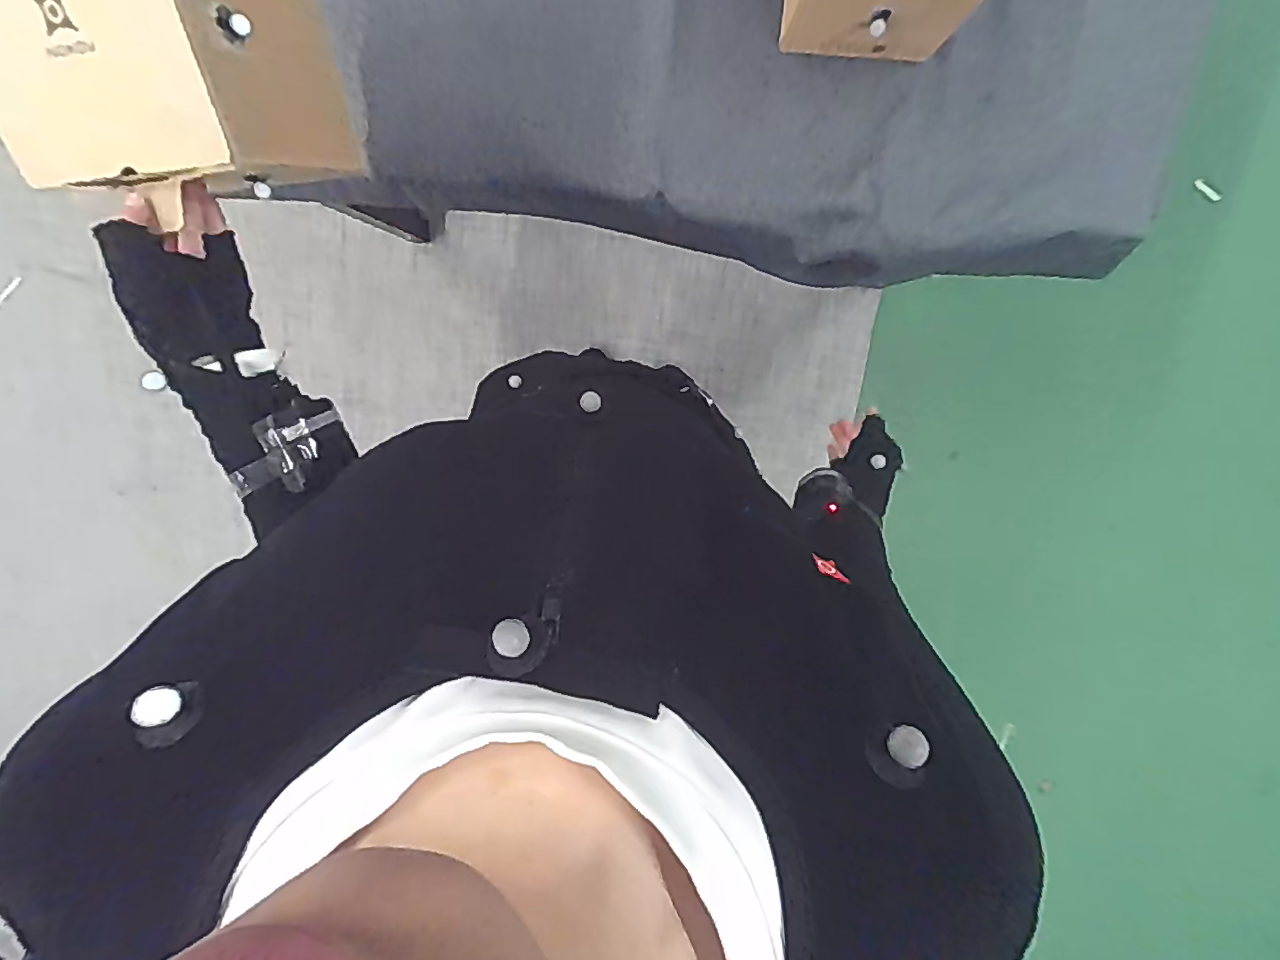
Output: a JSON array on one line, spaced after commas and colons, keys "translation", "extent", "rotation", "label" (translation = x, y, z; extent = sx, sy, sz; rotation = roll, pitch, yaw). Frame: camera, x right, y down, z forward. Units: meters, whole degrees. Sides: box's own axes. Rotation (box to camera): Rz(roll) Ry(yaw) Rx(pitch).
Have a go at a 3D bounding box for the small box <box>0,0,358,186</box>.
[{"translation": [-0.344, -0.321, 0.395], "extent": [0.168, 0.176, 0.179], "rotation": [-2, 118, 7], "label": "small box"}]
